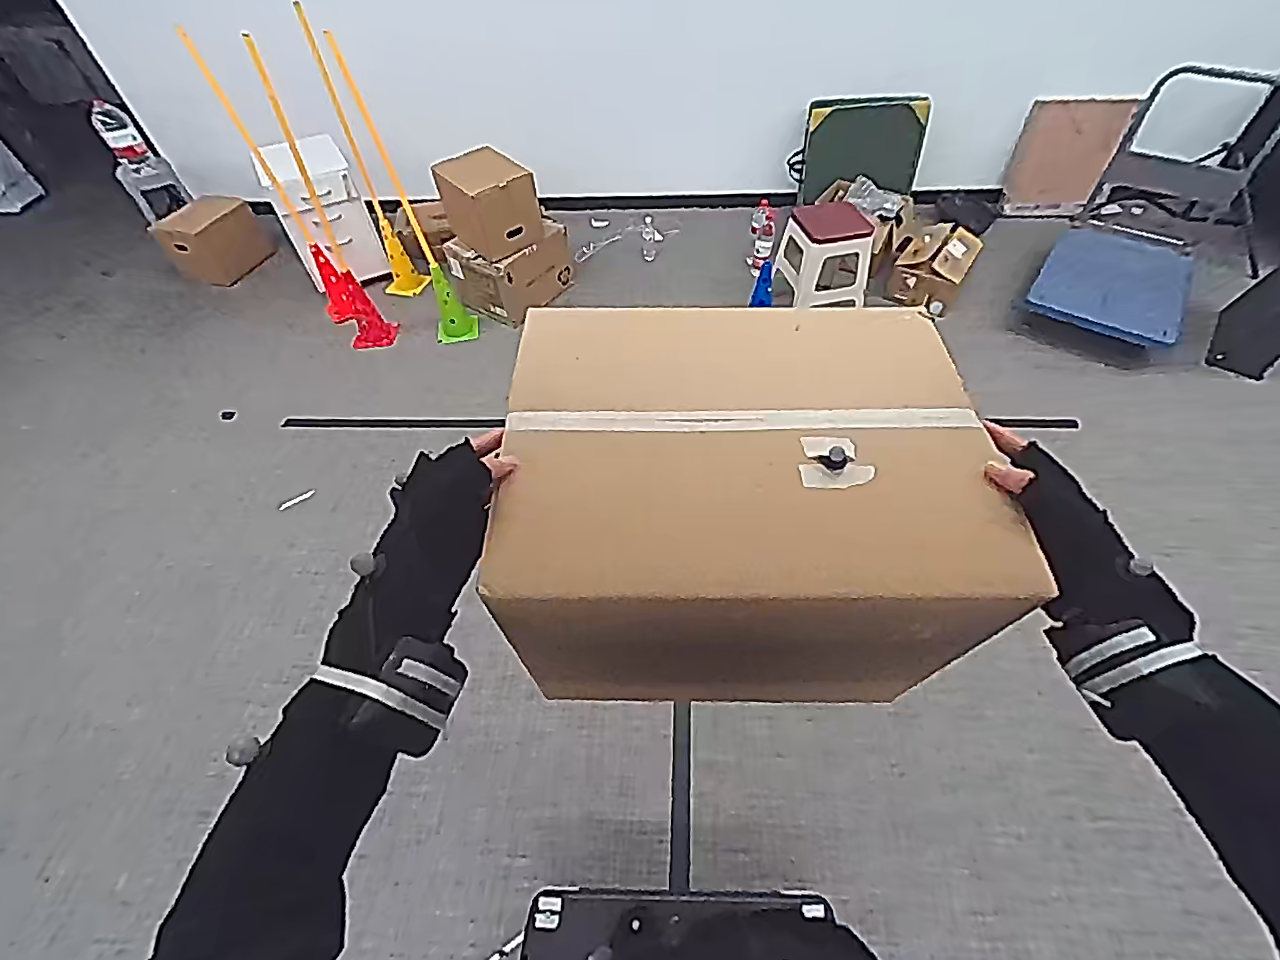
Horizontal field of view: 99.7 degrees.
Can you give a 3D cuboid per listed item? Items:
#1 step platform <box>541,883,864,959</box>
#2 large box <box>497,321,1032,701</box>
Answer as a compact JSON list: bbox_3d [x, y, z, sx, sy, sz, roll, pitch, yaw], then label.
[{"bbox_3d":[0.129,1.046,1.163,0.684,0.204,0.286,-1,52,1],"label":"step platform"},{"bbox_3d":[0.088,0.046,0.600,0.408,0.320,0.320,0,56,0],"label":"large box"}]
